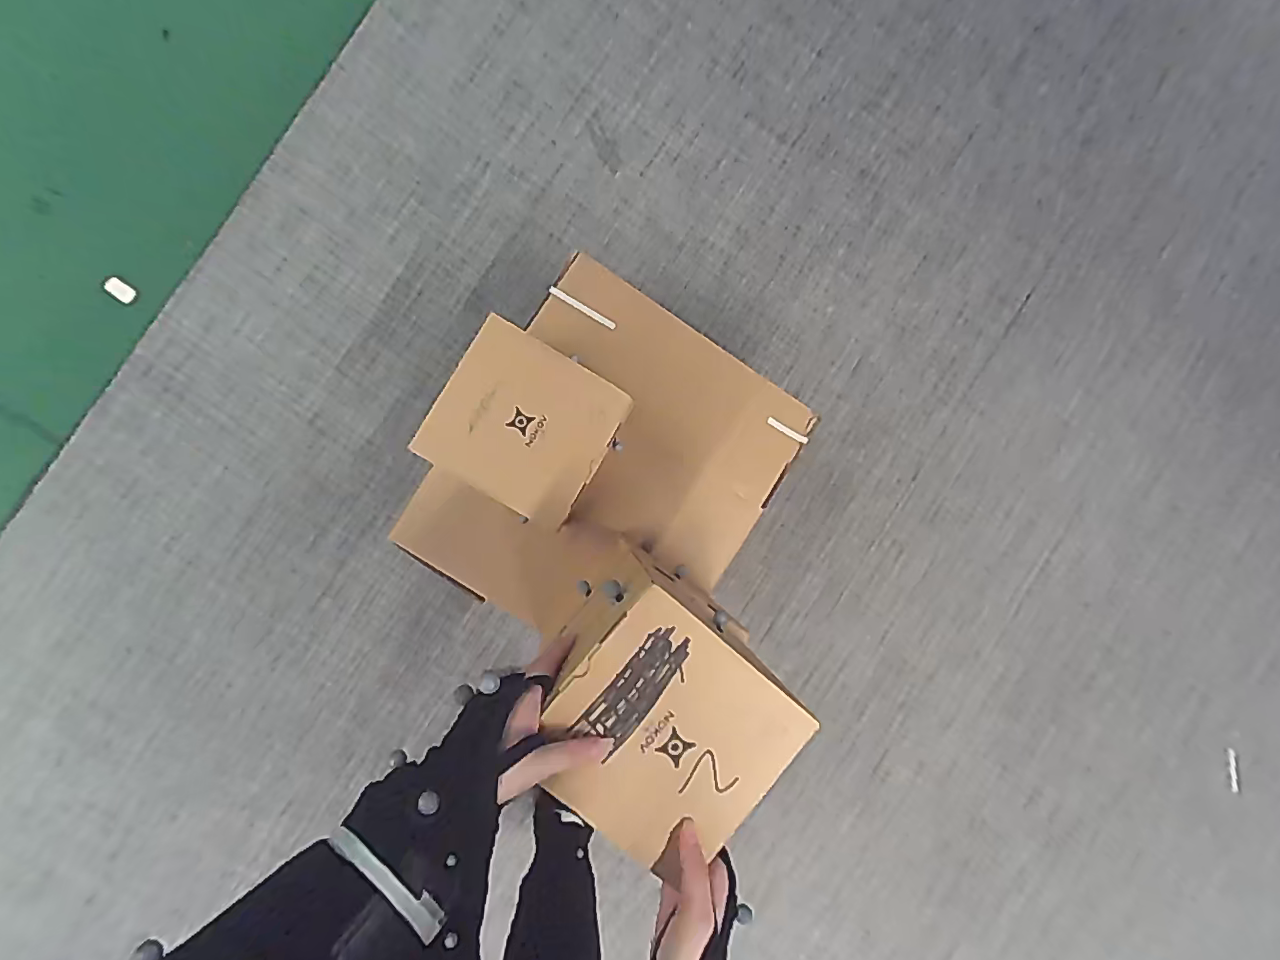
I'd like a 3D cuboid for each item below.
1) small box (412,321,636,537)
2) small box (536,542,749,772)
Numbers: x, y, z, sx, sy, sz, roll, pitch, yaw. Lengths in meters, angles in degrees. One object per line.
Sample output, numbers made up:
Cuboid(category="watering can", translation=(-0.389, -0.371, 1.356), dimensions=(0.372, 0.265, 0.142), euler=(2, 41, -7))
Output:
Cuboid(category="small box", translation=(-0.125, -0.052, 0.637), dimensions=(0.179, 0.176, 0.168), euler=(31, 85, -4))
Cuboid(category="small box", translation=(-0.005, 0.192, 0.645), dimensions=(0.168, 0.176, 0.179), euler=(37, 86, -5))
